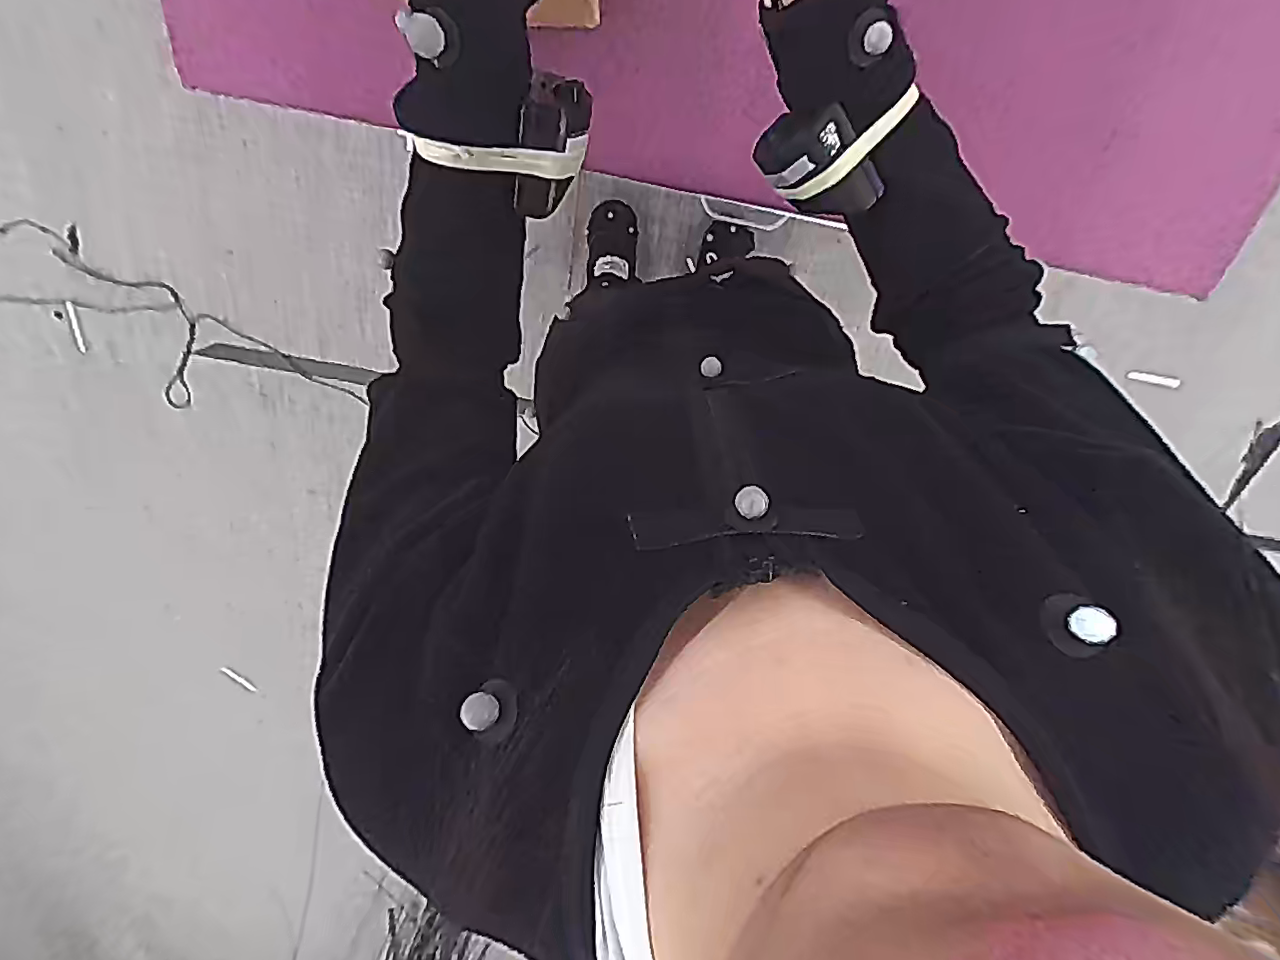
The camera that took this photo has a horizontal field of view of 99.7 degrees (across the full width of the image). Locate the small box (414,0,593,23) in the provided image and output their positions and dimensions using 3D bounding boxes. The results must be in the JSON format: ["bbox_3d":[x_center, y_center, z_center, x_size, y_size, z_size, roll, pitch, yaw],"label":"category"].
[{"bbox_3d":[-0.124,-0.499,0.438,0.179,0.176,0.168,1,118,0],"label":"small box"}]
